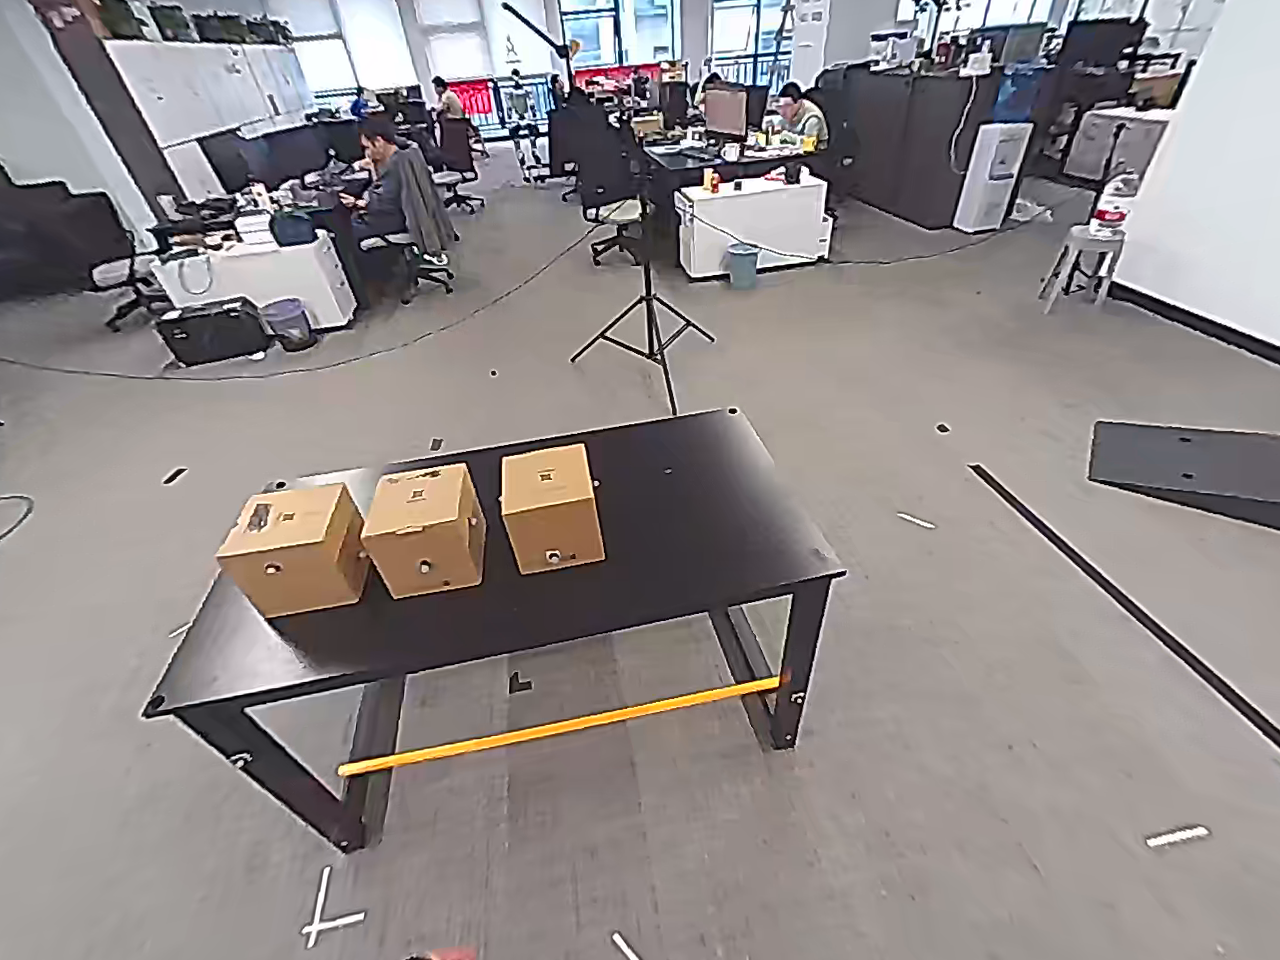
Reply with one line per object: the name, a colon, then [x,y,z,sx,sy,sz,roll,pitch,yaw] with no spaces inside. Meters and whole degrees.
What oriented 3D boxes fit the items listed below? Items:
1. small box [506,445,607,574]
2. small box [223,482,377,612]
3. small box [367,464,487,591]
small box: [-0.165,0.057,1.073,0.168,0.176,0.179,-11,40,-6]
small box: [-0.628,0.129,1.029,0.179,0.176,0.168,-9,40,-6]
small box: [-0.399,0.097,1.046,0.168,0.176,0.179,-9,39,-6]
